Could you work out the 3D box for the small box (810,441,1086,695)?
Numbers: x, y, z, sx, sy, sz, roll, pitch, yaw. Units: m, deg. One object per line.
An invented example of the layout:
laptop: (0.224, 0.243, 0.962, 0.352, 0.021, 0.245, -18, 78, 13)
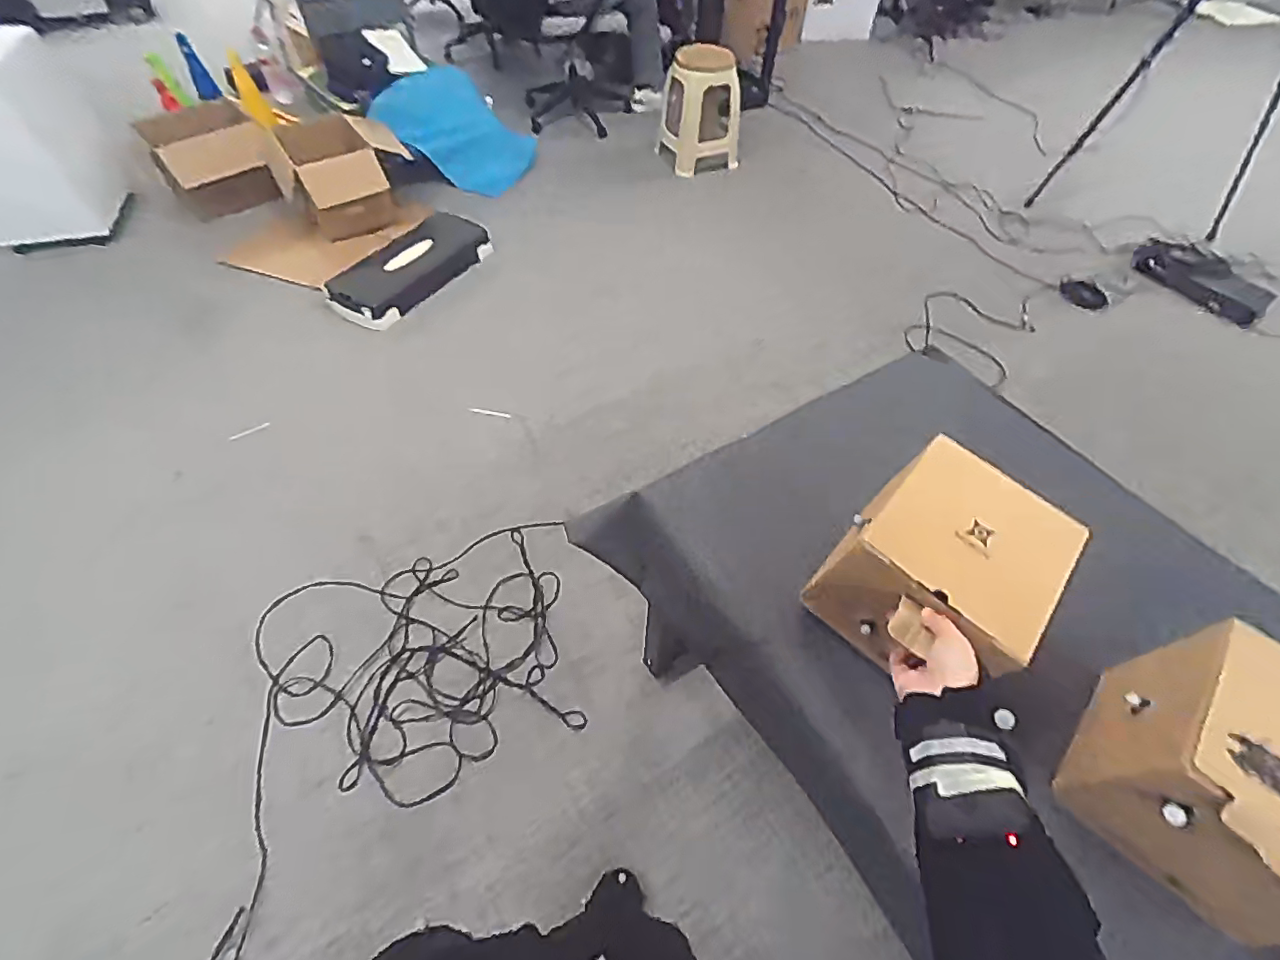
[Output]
small box: (0.312, 0.098, 0.580, 0.168, 0.176, 0.179, 40, 62, 16)
